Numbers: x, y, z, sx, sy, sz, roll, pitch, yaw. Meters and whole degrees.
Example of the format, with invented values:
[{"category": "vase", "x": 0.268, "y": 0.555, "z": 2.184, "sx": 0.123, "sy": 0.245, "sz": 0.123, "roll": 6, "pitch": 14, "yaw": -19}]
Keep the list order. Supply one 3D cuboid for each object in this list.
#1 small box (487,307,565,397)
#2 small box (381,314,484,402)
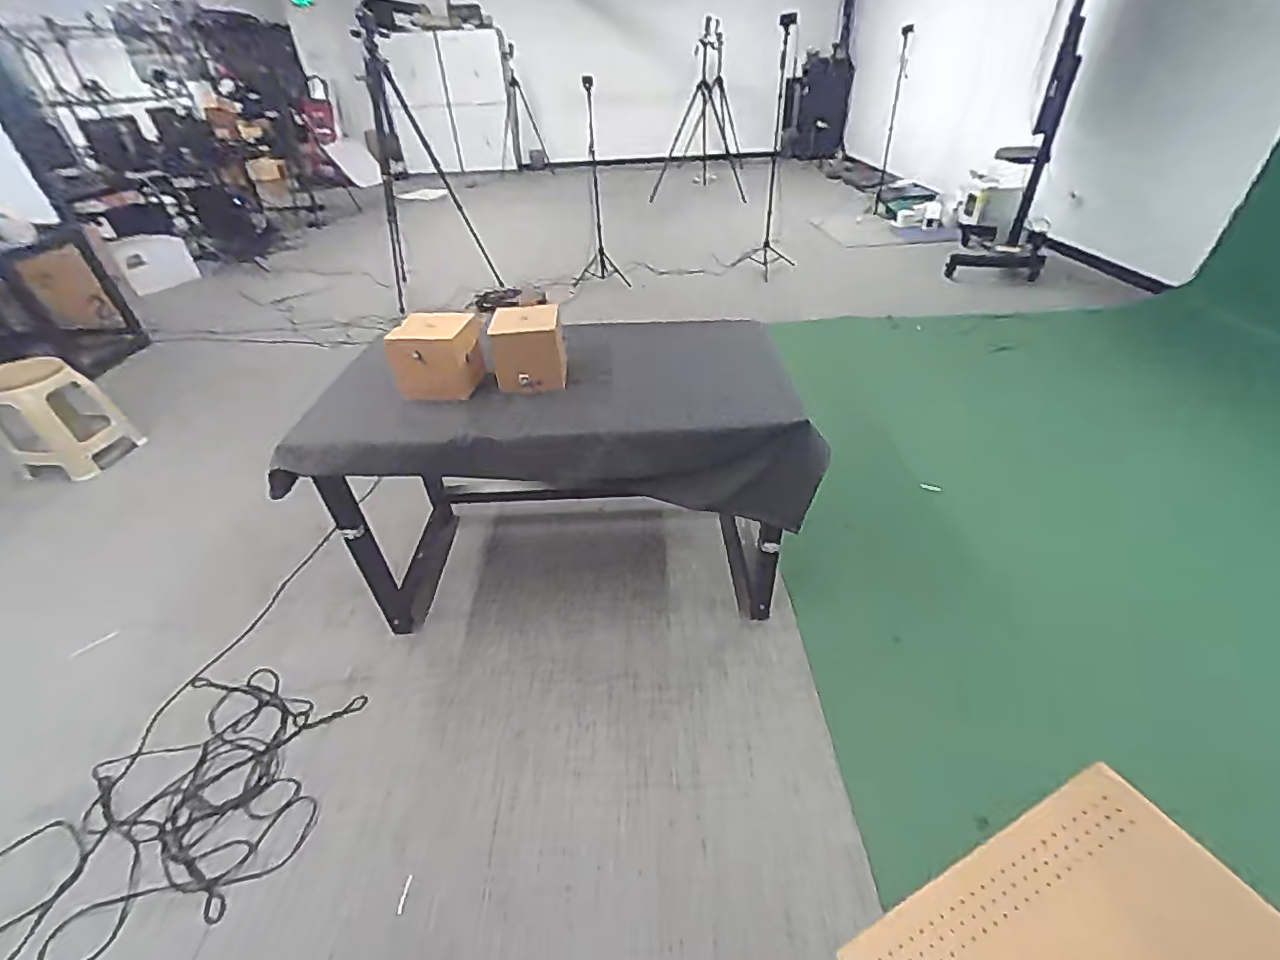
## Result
[{"category": "small box", "x": -0.287, "y": -0.331, "z": 1.398, "sx": 0.168, "sy": 0.176, "sz": 0.179, "roll": -5, "pitch": 38, "yaw": -2}, {"category": "small box", "x": -0.515, "y": -0.309, "z": 1.377, "sx": 0.179, "sy": 0.176, "sz": 0.168, "roll": 2, "pitch": 37, "yaw": 6}]
